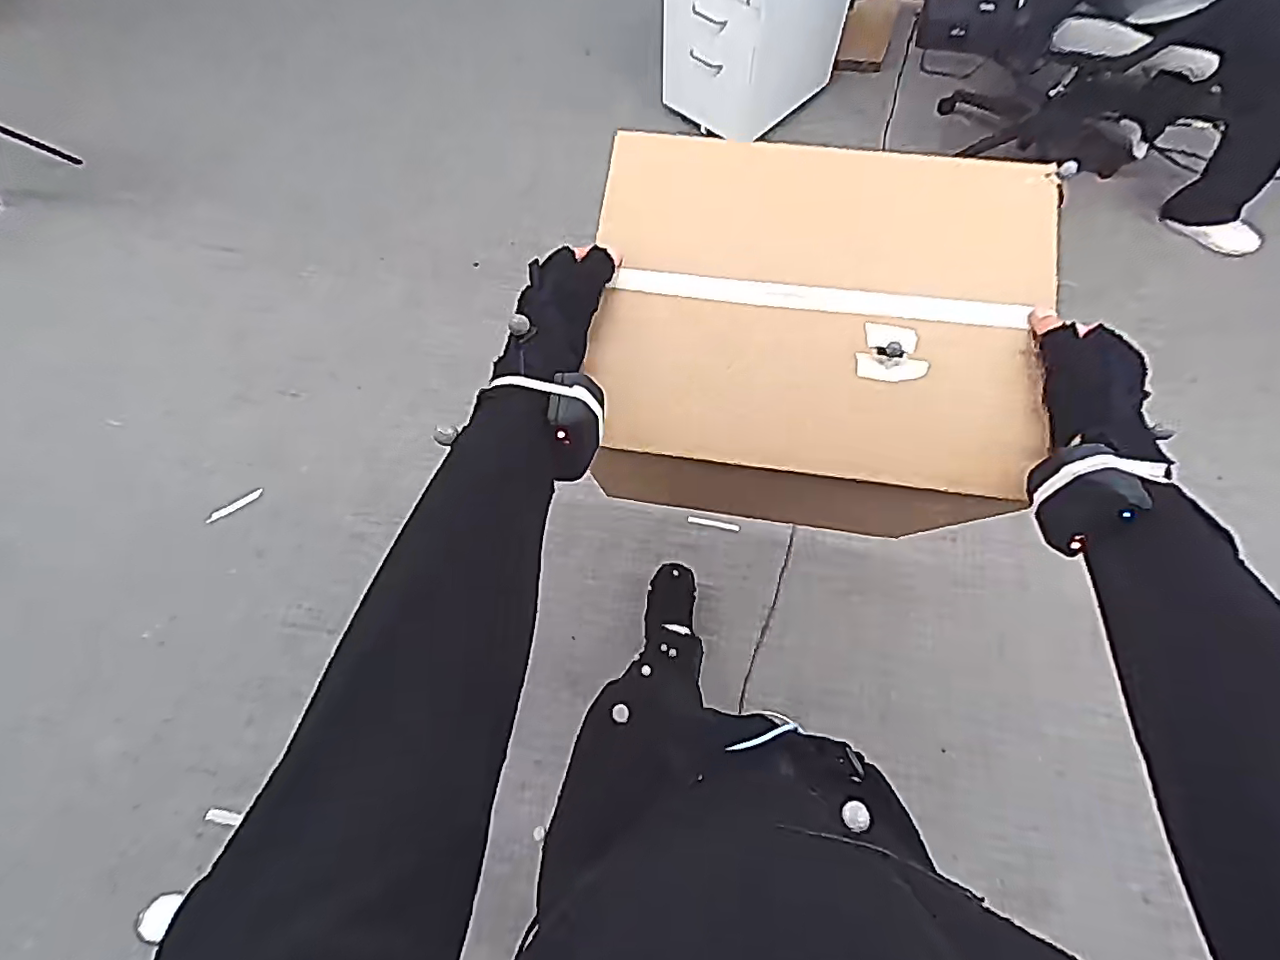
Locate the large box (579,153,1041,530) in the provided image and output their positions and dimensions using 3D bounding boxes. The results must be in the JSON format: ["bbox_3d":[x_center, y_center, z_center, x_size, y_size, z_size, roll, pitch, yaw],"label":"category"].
[{"bbox_3d":[0.166,-0.130,0.645,0.408,0.320,0.320,8,80,5],"label":"large box"}]
